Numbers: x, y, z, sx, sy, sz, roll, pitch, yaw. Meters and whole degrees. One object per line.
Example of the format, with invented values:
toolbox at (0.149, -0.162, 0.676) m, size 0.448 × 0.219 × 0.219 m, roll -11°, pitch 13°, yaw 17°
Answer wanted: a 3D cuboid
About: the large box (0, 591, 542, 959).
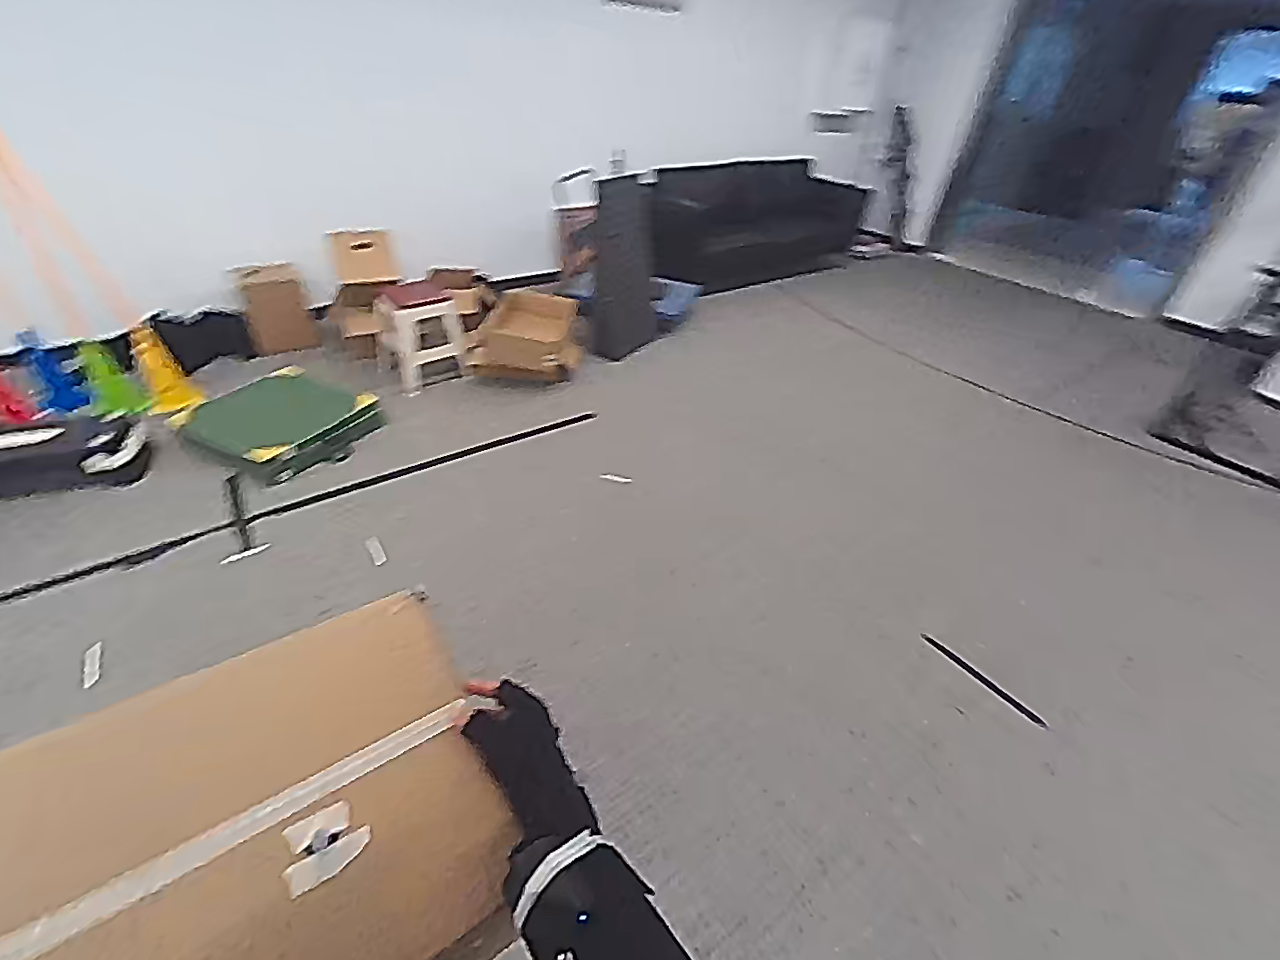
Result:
large box at (-0.350, 0.387, 0.539) m, size 0.408 × 0.320 × 0.320 m, roll -20°, pitch 54°, yaw -30°
